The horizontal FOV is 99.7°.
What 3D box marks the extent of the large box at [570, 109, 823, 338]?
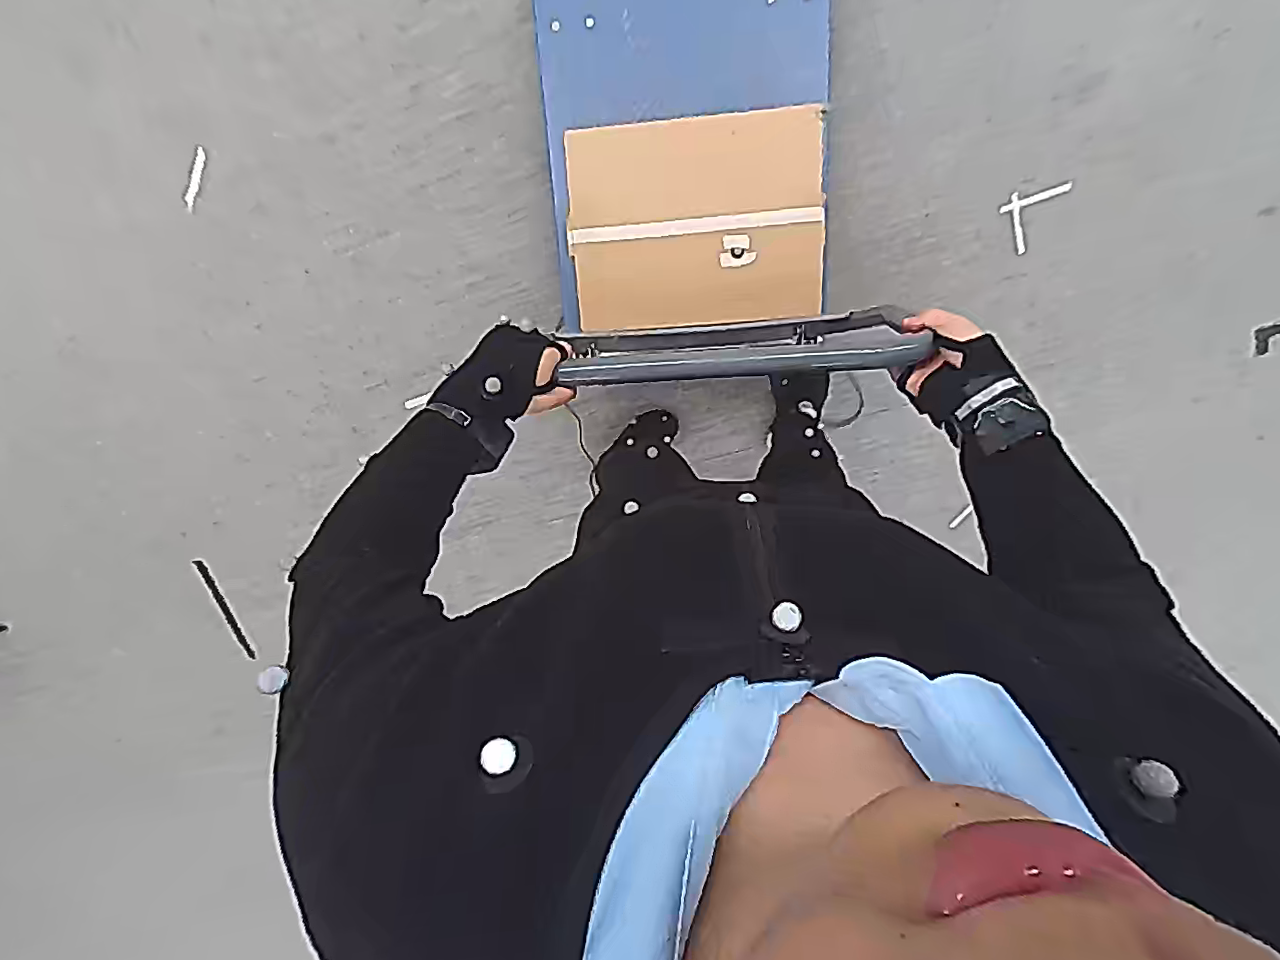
[{"bbox_3d":[0.105,-0.447,1.029,0.408,0.320,0.320,-3,105,5],"label":"large box"}]
